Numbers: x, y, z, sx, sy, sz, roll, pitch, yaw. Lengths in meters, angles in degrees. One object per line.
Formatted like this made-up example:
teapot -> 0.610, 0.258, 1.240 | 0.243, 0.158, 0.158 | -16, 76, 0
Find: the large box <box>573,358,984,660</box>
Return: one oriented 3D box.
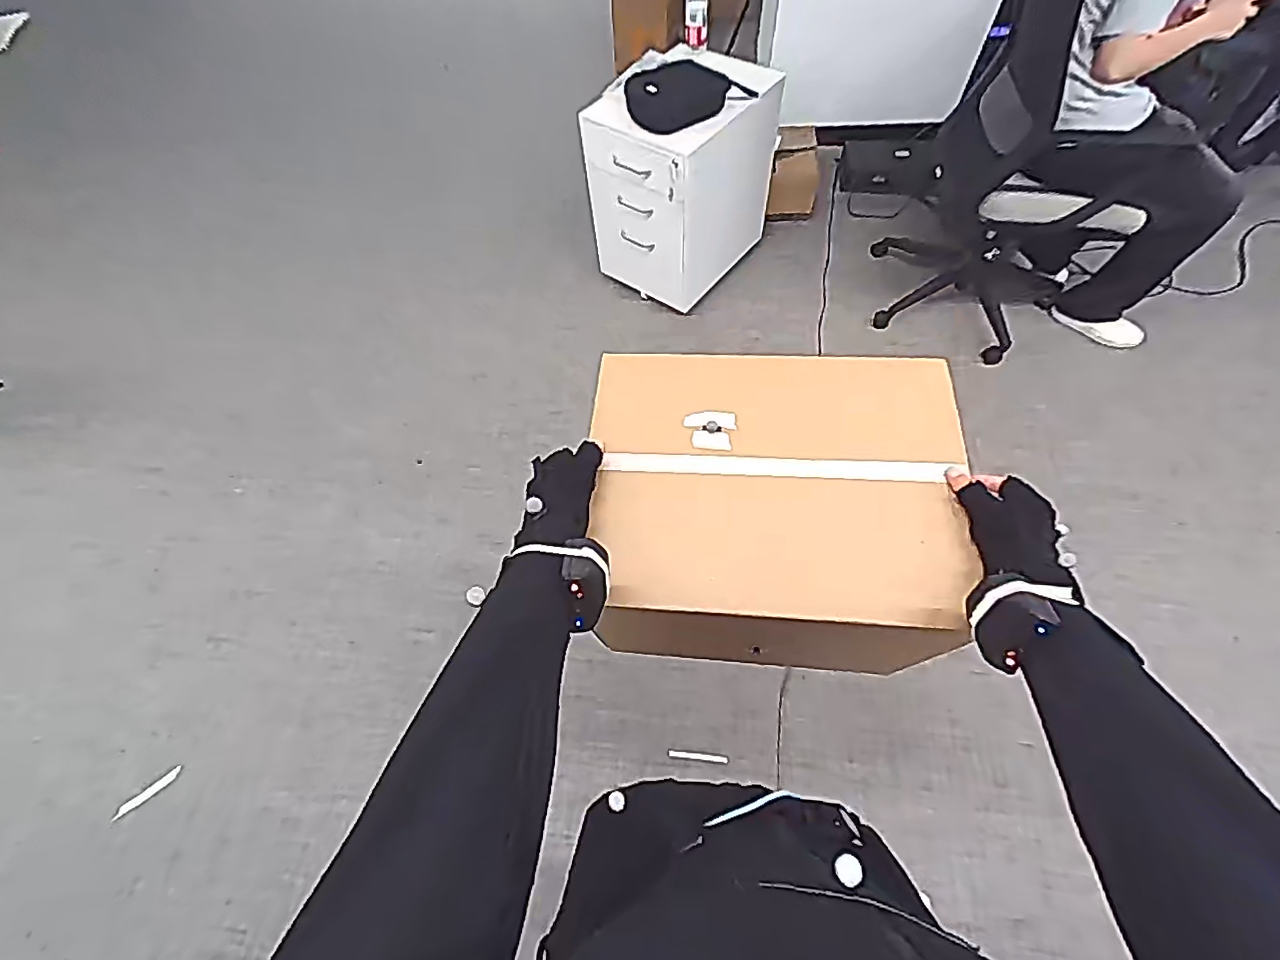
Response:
large box -> 0.157, 0.054, 0.726 | 0.408, 0.320, 0.320 | 2, 63, 8
